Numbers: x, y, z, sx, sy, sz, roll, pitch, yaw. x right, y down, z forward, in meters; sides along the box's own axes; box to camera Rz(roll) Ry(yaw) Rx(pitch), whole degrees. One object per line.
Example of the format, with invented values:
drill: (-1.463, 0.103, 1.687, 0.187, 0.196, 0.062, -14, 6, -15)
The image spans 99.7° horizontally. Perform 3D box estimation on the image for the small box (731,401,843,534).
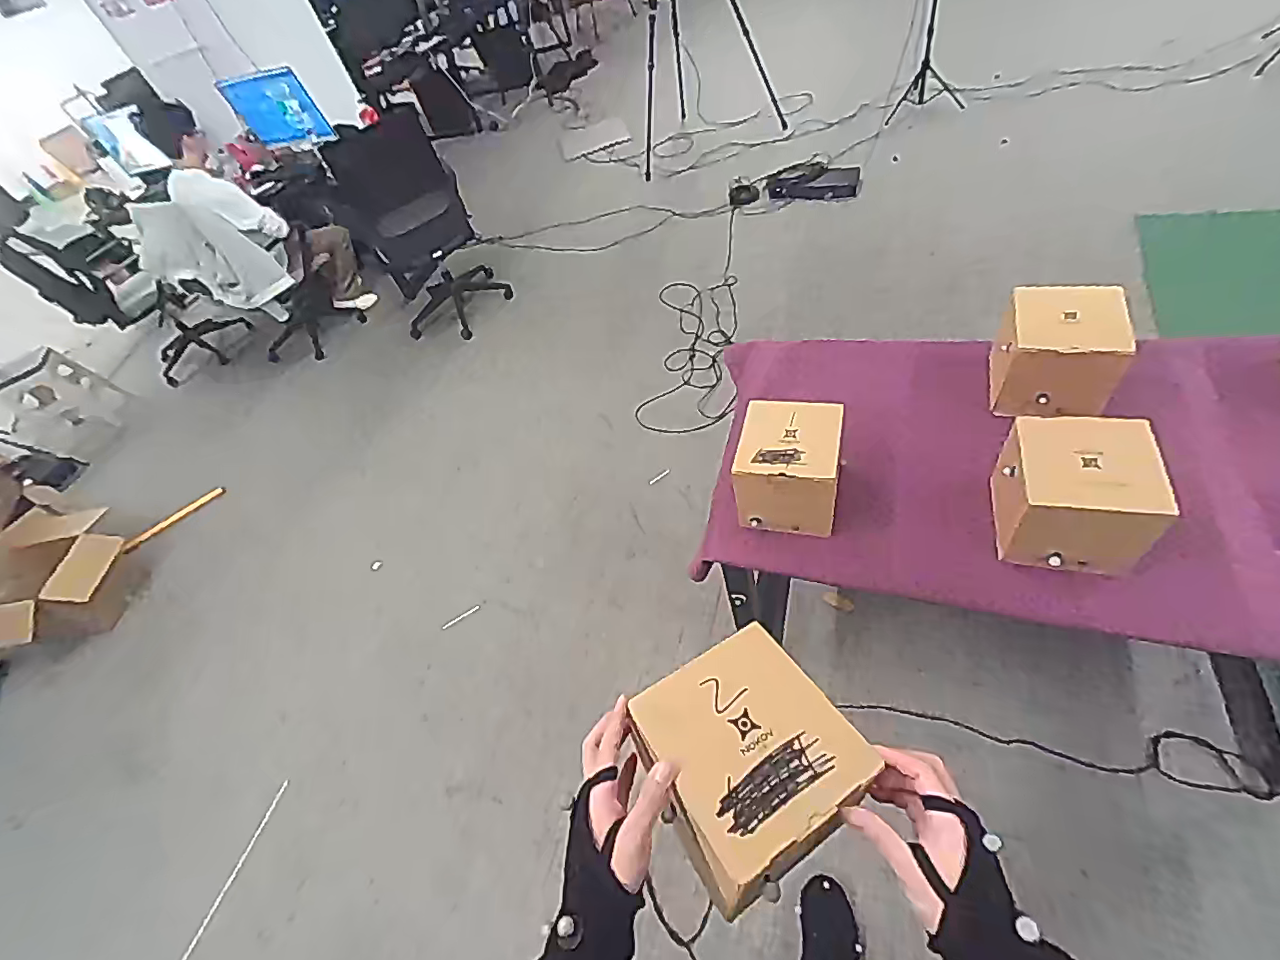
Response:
small box: (0.272, -0.022, 0.981, 0.168, 0.176, 0.179, 6, 54, 22)

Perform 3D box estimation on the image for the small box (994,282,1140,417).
small box: (0.763, -0.238, 0.988, 0.168, 0.176, 0.179, 7, 58, 23)

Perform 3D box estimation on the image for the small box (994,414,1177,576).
small box: (0.654, 0.022, 0.823, 0.168, 0.176, 0.179, 5, 54, 23)
